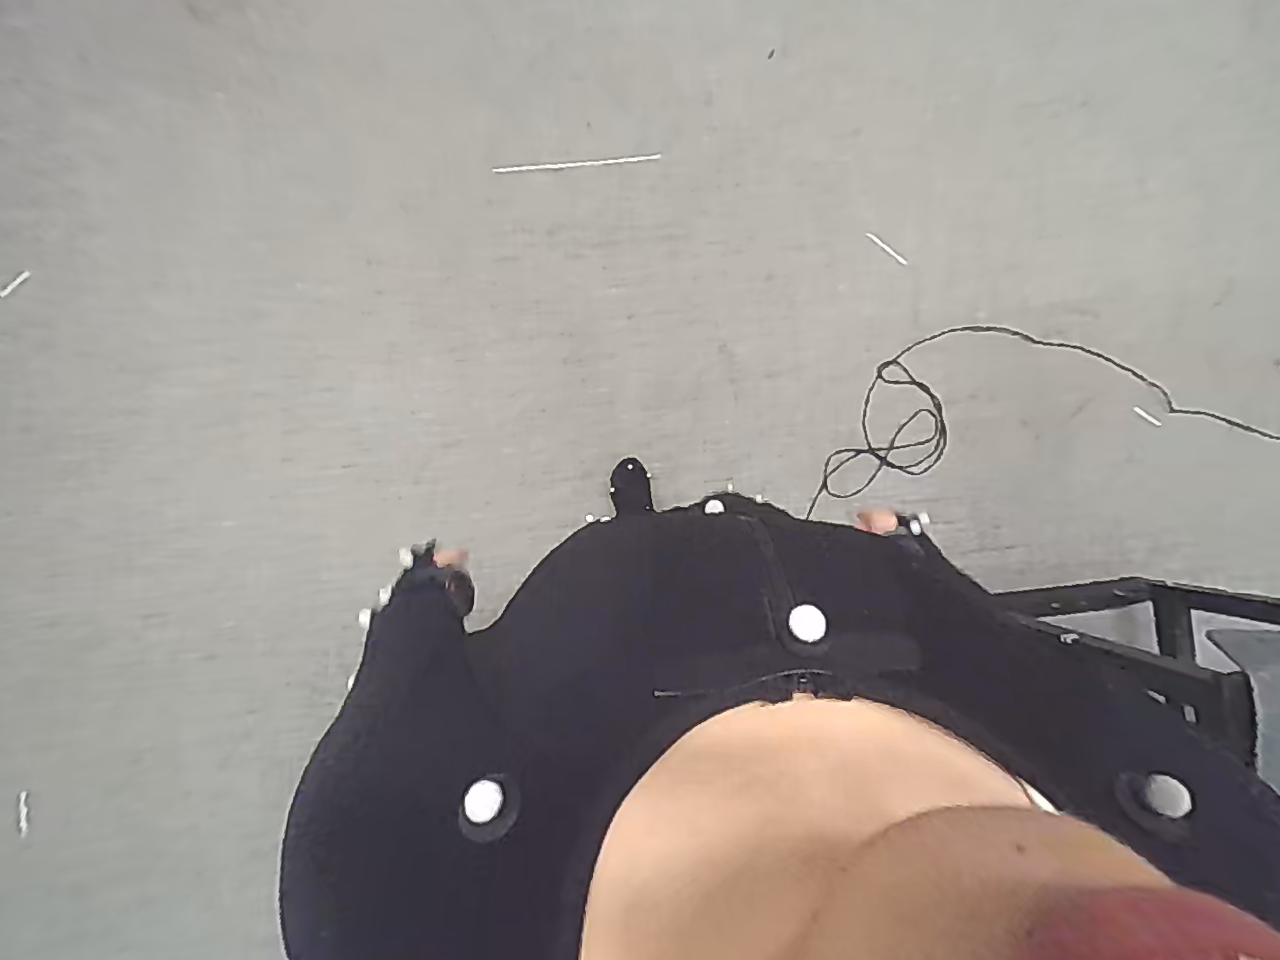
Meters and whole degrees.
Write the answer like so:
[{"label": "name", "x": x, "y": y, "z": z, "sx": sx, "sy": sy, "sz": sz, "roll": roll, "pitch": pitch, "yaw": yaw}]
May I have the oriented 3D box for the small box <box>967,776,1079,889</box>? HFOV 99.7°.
[{"label": "small box", "x": 0.971, "y": 0.895, "z": 1.385, "sx": 0.168, "sy": 0.176, "sz": 0.179, "roll": 9, "pitch": 84, "yaw": -3}]
